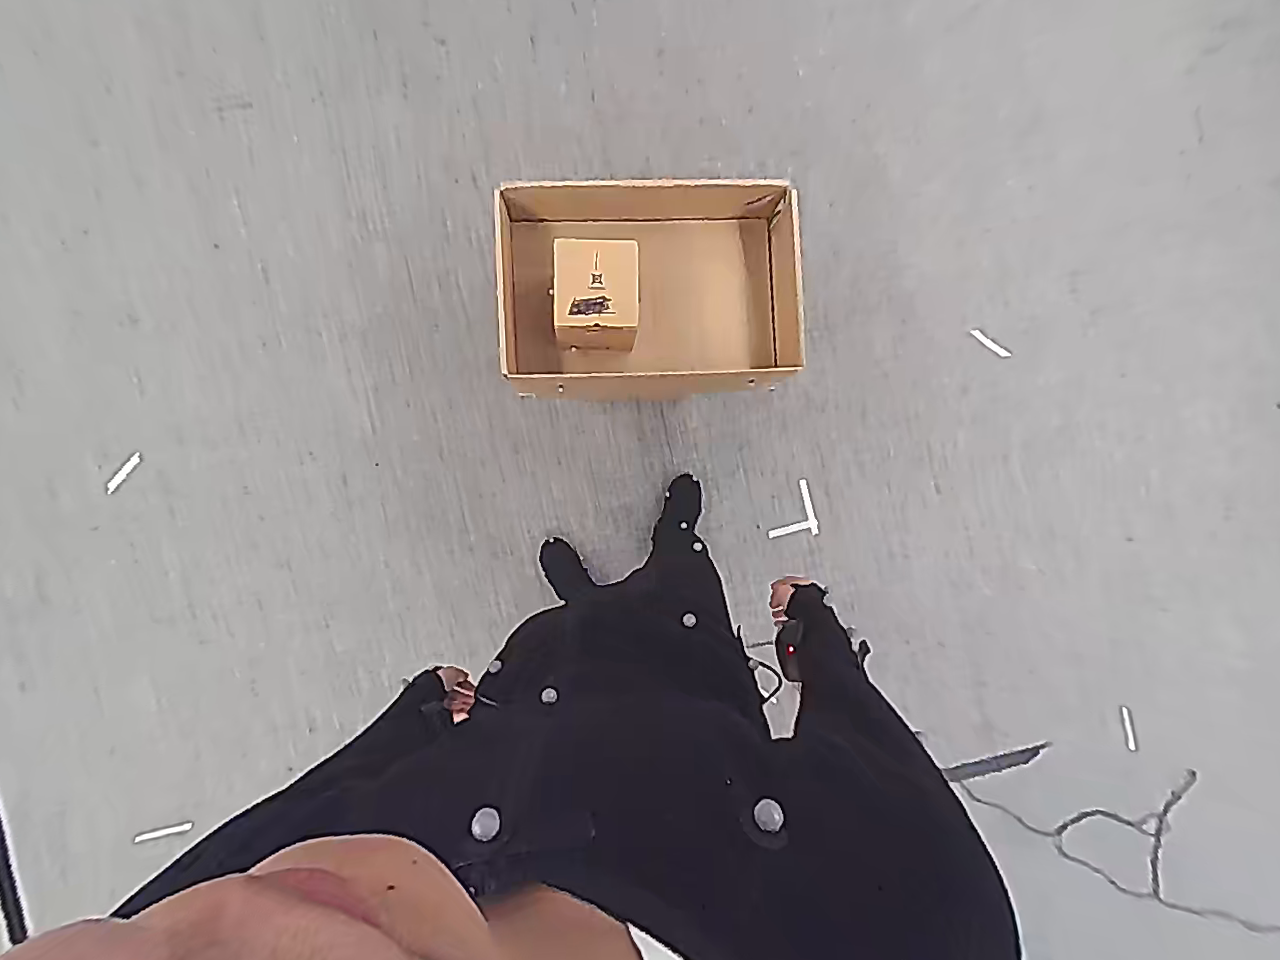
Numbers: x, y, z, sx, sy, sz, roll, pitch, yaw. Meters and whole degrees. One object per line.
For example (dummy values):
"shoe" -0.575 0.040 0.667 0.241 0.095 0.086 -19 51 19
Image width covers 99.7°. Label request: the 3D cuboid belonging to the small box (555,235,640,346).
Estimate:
"small box" -0.087 -0.385 1.126 0.168 0.176 0.179 0 88 -5
